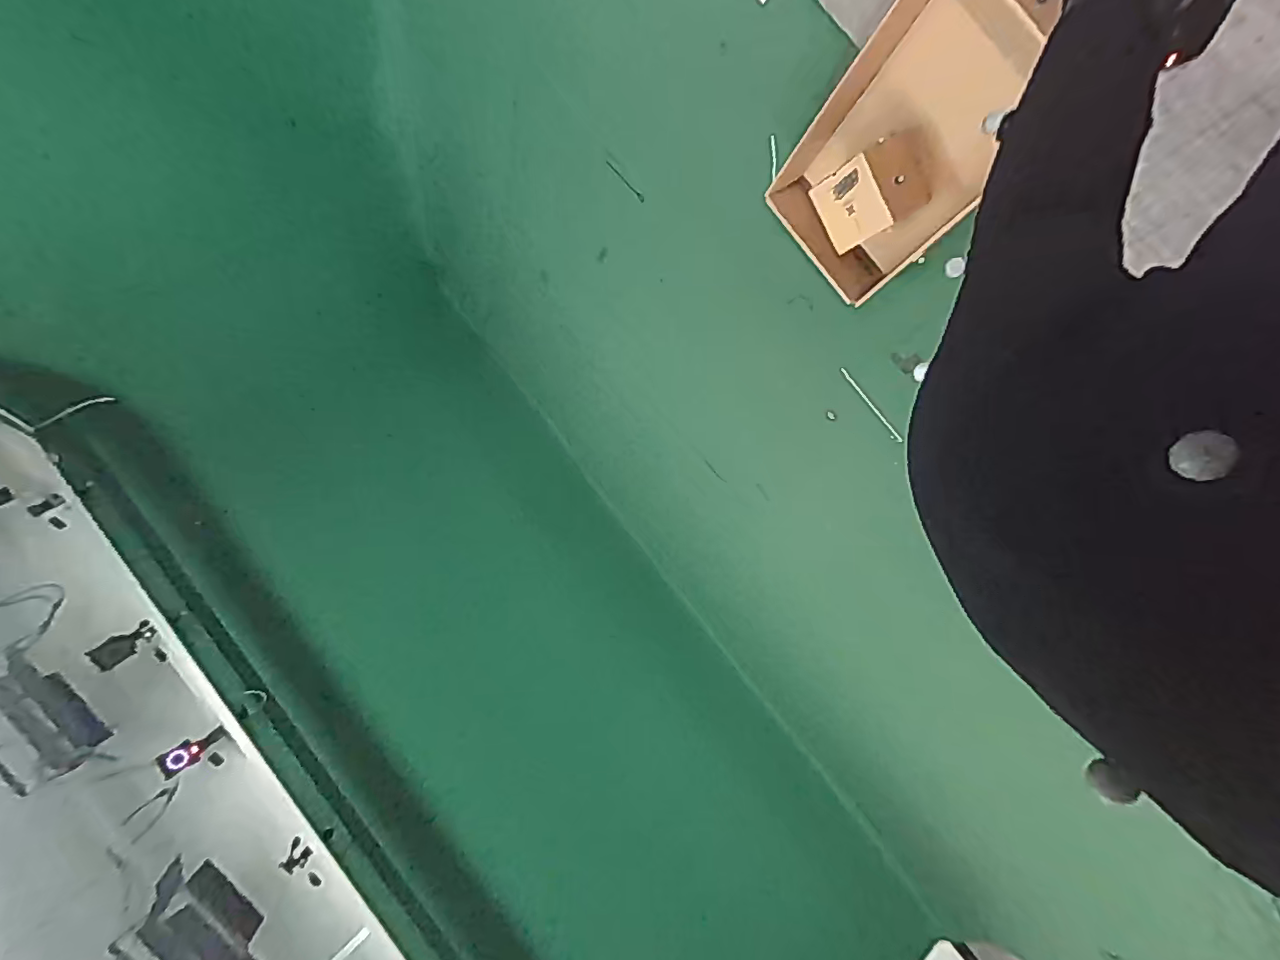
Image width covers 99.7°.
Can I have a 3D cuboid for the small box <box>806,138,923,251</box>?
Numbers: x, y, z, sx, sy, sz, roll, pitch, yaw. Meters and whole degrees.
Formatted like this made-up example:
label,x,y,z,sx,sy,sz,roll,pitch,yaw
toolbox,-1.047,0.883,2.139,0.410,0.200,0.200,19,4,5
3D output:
label,x,y,z,sx,sy,sz,roll,pitch,yaw
small box,0.548,-0.697,1.316,0.179,0.176,0.168,59,153,-11
